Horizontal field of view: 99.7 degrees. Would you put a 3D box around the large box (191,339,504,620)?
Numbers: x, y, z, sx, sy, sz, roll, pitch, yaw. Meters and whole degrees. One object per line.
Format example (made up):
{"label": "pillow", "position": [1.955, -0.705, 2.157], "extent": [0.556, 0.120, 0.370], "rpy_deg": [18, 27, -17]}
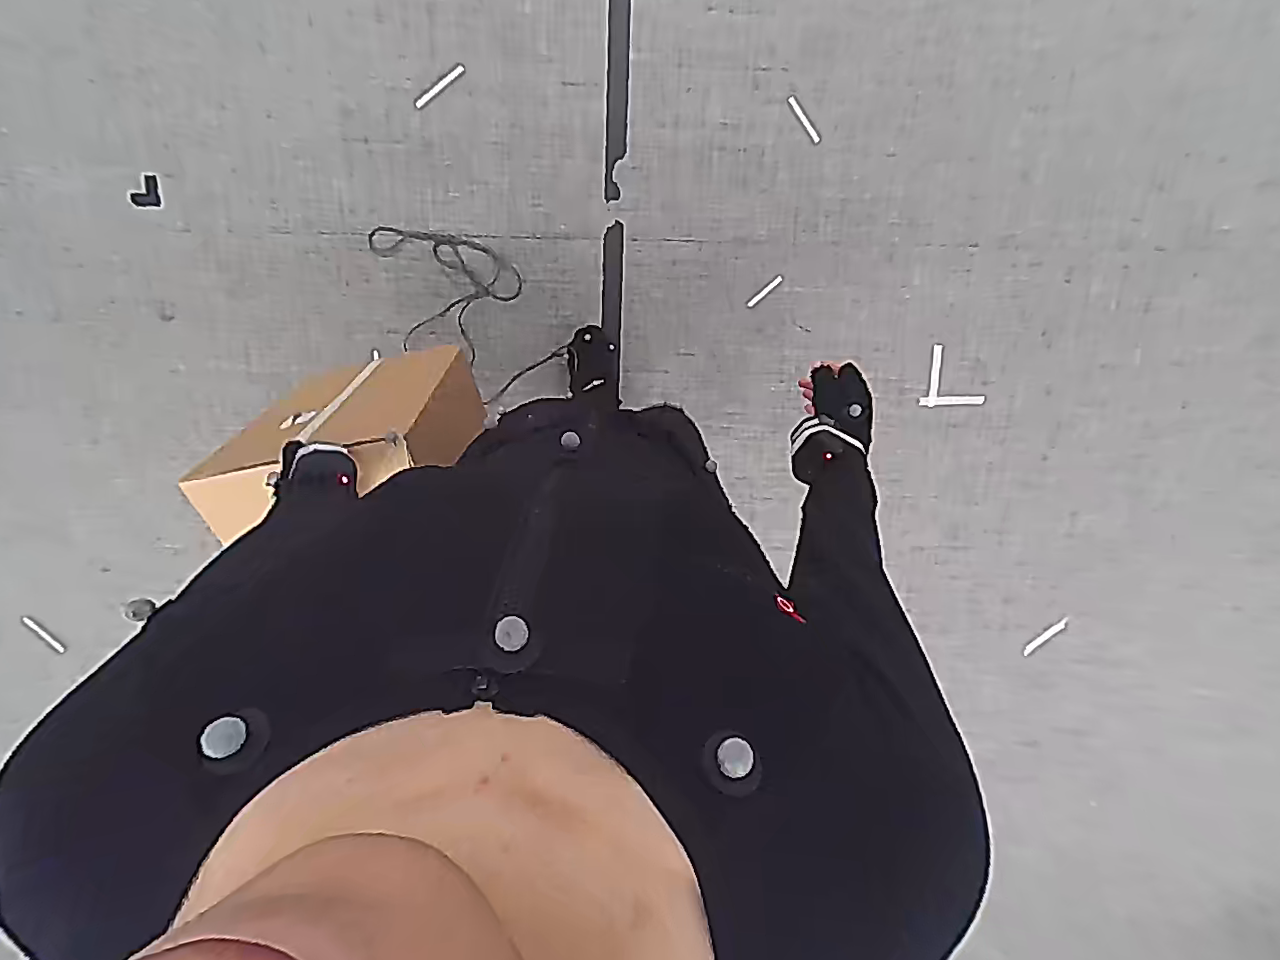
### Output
{"label": "large box", "position": [-0.457, -0.020, 0.977], "extent": [0.320, 0.408, 0.320], "rpy_deg": [-12, 123, 2]}
